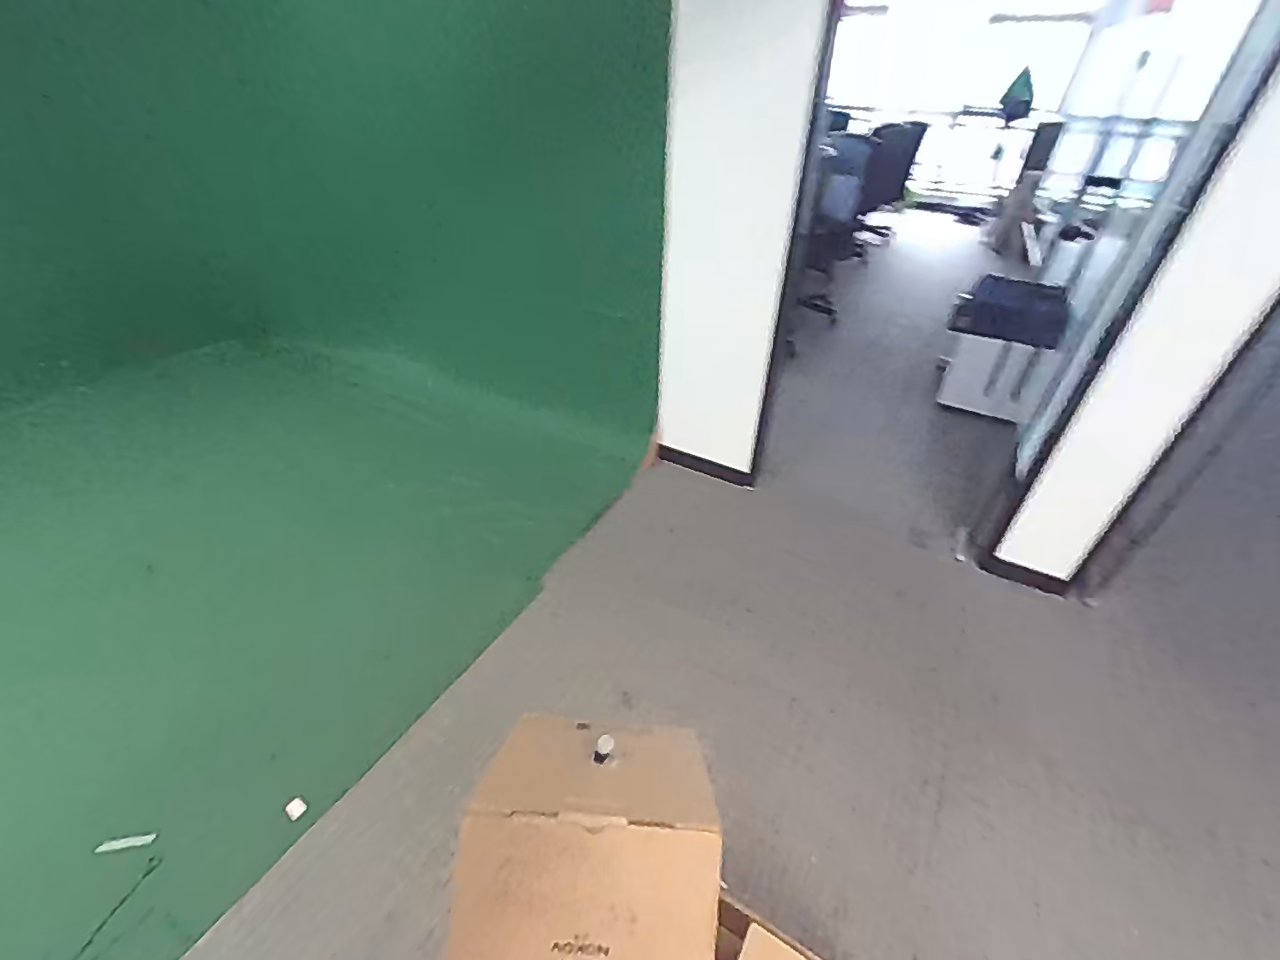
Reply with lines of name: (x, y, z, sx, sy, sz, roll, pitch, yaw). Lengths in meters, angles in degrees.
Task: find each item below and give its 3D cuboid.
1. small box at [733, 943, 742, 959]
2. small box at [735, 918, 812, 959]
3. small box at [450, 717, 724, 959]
small box: (0.212, 1.001, 0.972, 0.168, 0.176, 0.179, 21, 43, 24)
small box: (0.214, 0.871, 0.870, 0.168, 0.176, 0.179, 21, 43, 25)
small box: (-0.037, 0.301, 0.415, 0.168, 0.179, 0.176, 5, -4, 1)
